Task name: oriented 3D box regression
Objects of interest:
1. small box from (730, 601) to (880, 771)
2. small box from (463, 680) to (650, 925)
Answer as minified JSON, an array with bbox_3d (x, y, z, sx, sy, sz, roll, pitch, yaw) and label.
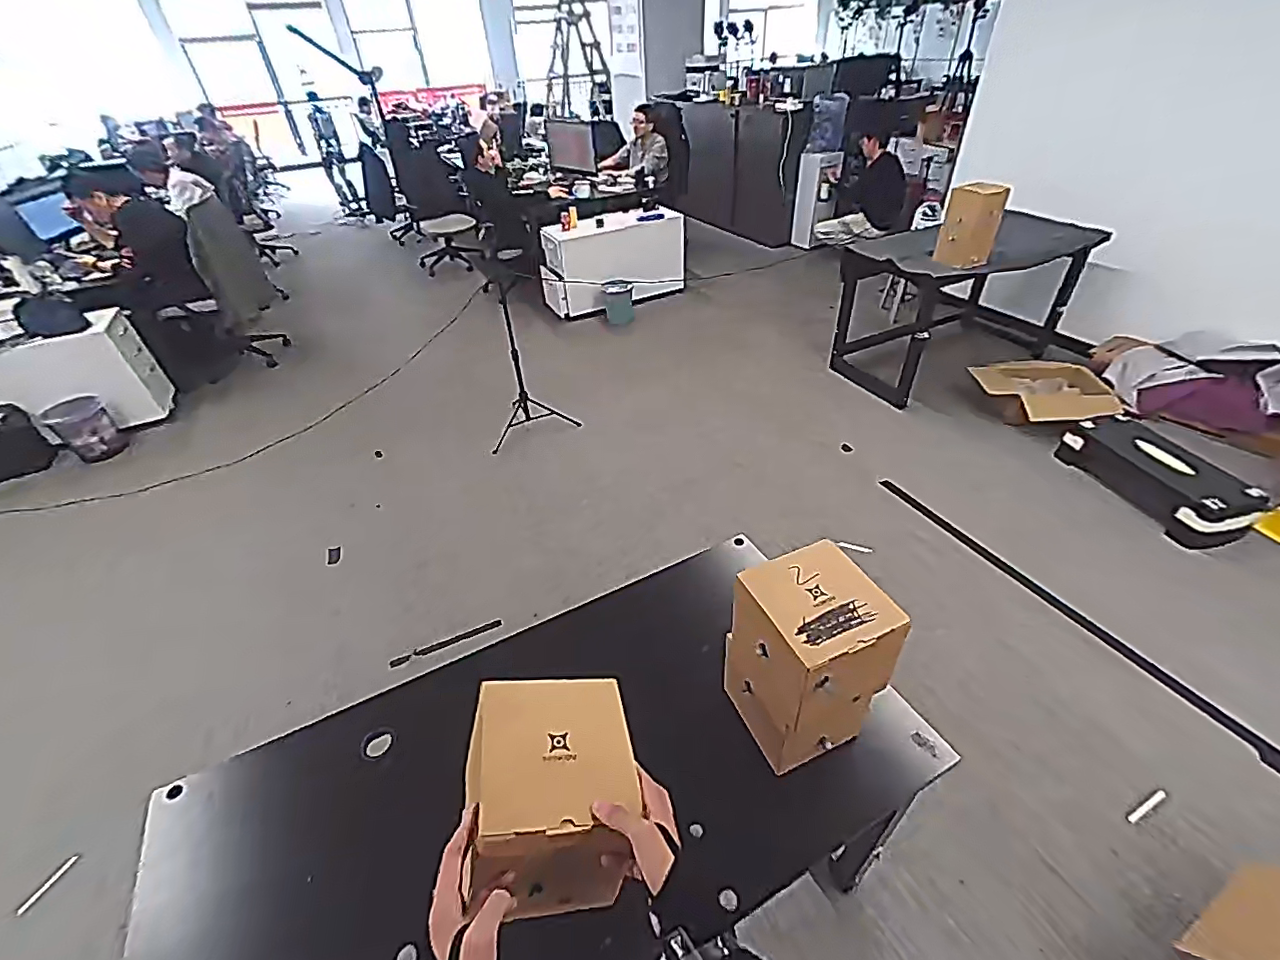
[{"bbox_3d":[0.259,0.341,0.901,0.168,0.176,0.179,-18,41,-14],"label":"small box"},{"bbox_3d":[-0.104,0.353,0.612,0.168,0.176,0.179,7,29,-18],"label":"small box"}]
